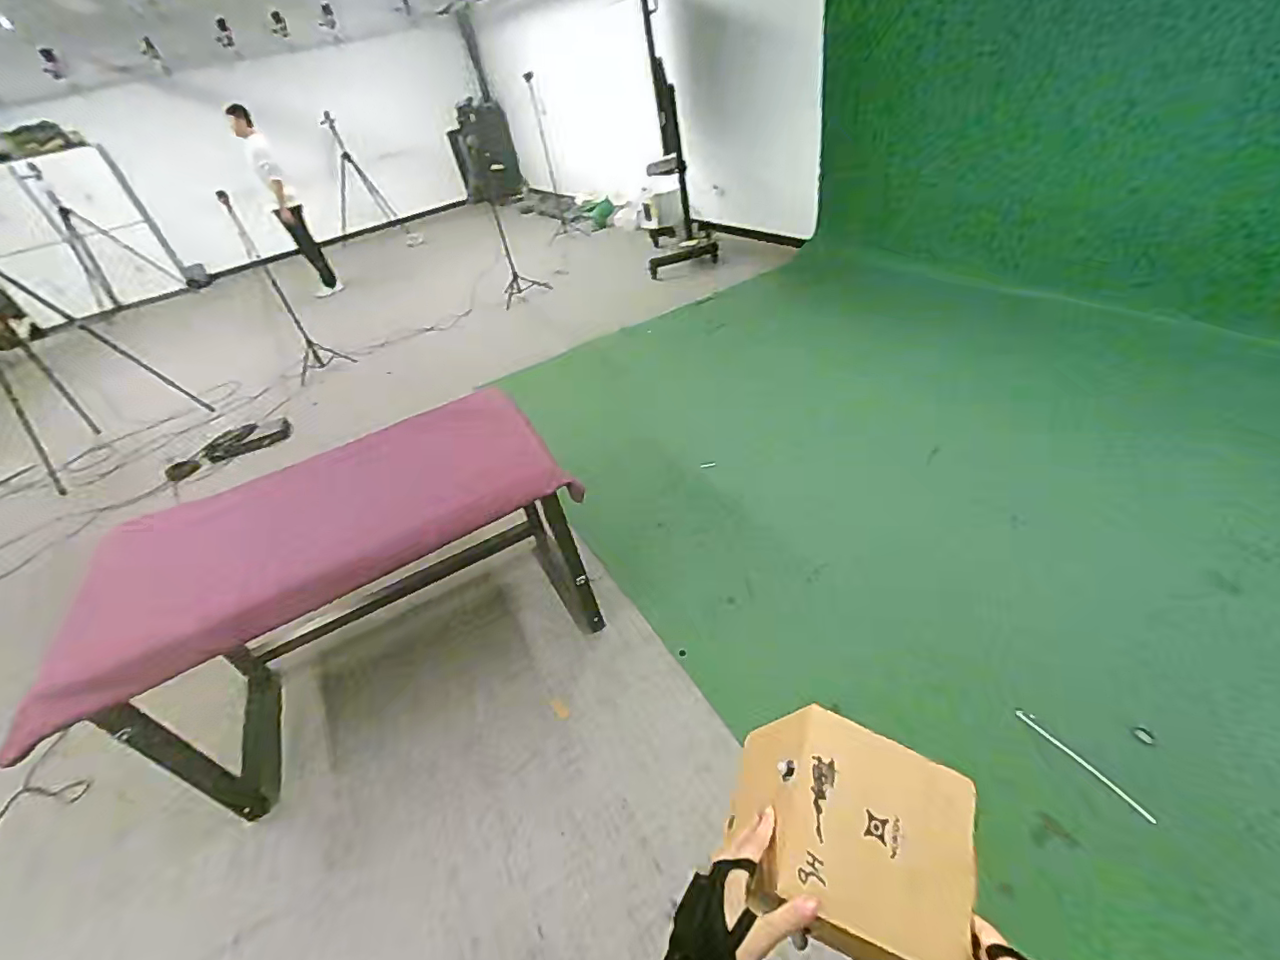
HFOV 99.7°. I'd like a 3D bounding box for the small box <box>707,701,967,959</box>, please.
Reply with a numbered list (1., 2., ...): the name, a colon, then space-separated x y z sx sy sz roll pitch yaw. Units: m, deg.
1. small box: 0.191 0.353 0.544 0.179 0.176 0.168 25 52 2
